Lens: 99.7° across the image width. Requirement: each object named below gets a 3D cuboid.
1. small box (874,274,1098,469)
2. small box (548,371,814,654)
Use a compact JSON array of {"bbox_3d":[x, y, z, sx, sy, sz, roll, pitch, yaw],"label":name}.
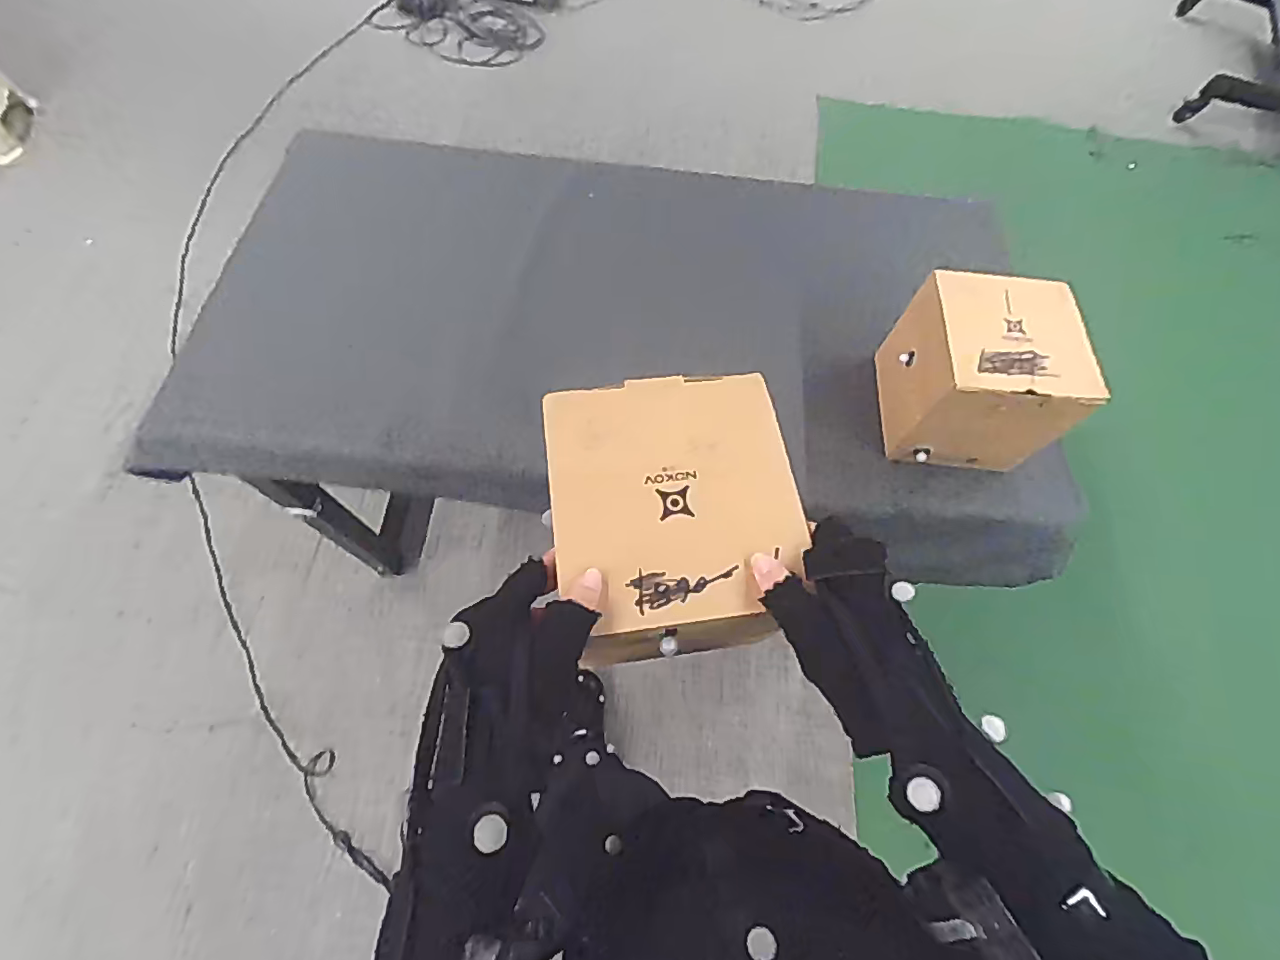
[{"bbox_3d":[0.419,-0.130,0.691,0.168,0.176,0.179,6,63,0],"label":"small box"},{"bbox_3d":[0.017,0.035,0.443,0.168,0.176,0.179,-6,66,-5],"label":"small box"}]
